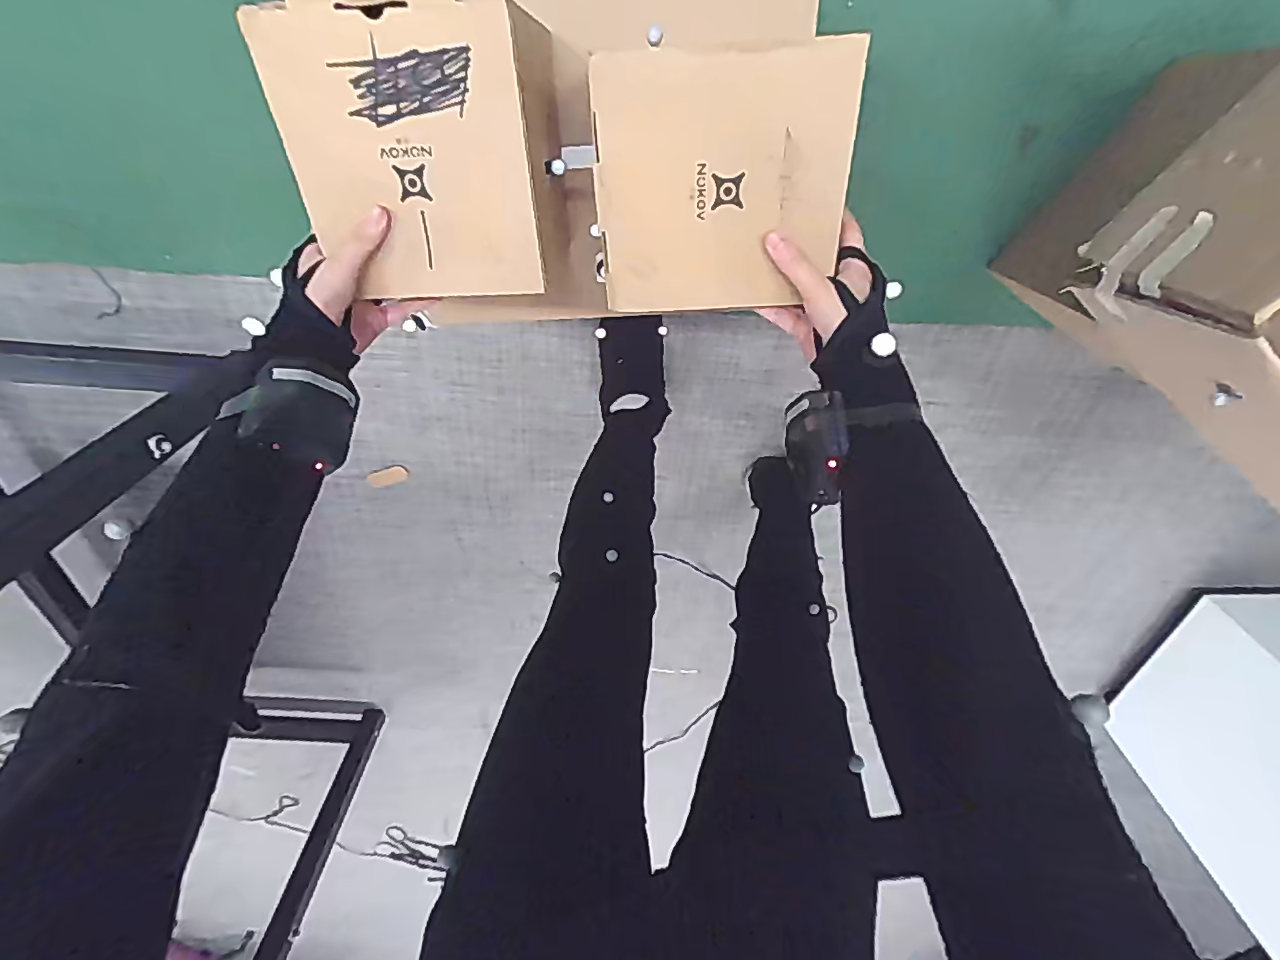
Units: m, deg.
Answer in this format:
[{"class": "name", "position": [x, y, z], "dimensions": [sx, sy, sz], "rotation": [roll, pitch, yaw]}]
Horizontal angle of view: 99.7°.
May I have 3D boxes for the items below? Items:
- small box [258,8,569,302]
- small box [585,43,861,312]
[{"class": "small box", "position": [-0.155, -0.259, 0.446], "dimensions": [0.168, 0.176, 0.179], "rotation": [-1, 125, 2]}, {"class": "small box", "position": [0.056, -0.249, 0.450], "dimensions": [0.179, 0.176, 0.168], "rotation": [-2, 126, 2]}]
